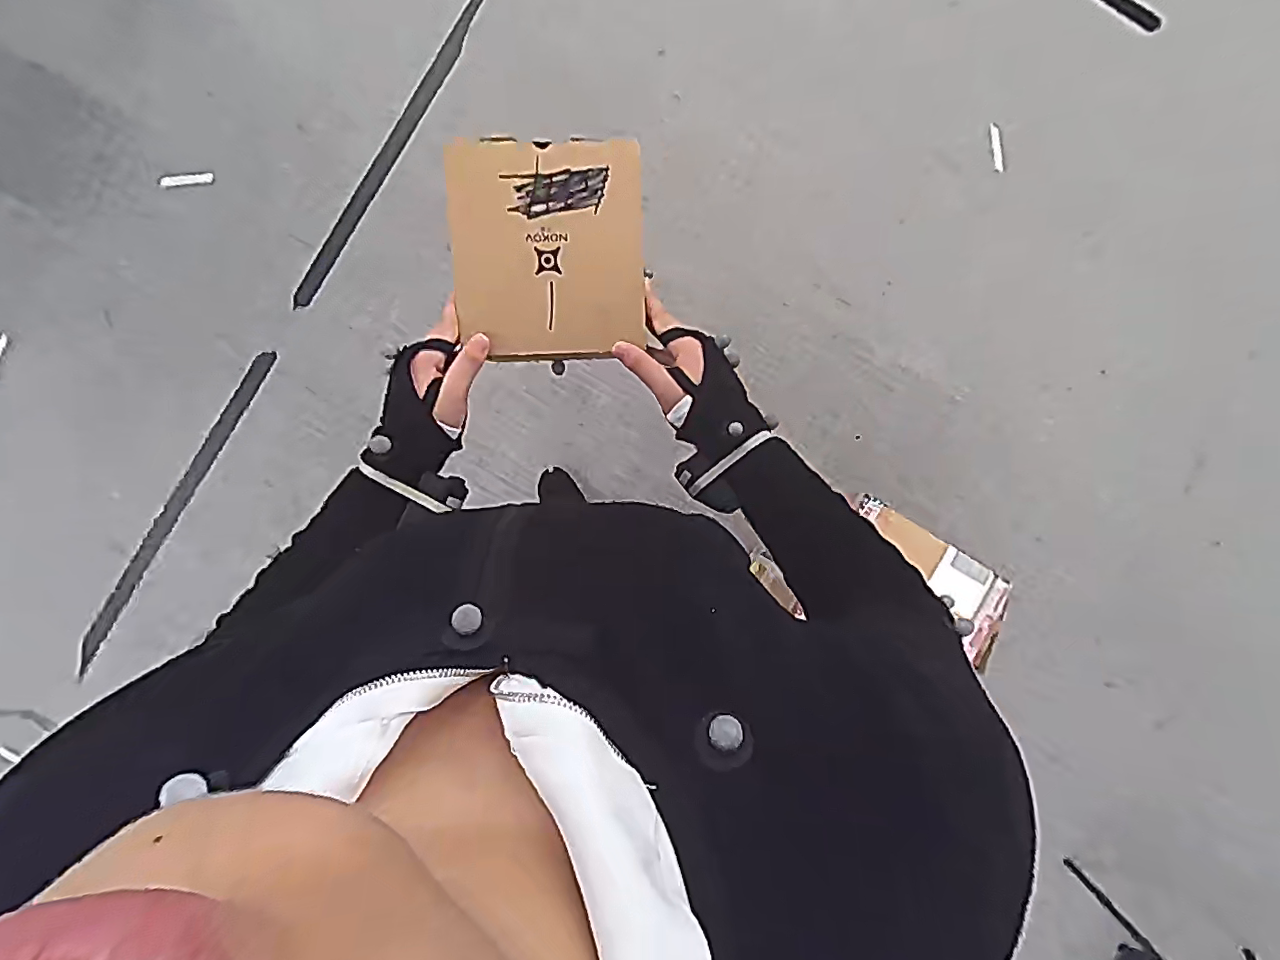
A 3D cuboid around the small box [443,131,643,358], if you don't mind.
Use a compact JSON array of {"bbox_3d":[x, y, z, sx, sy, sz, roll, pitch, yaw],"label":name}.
[{"bbox_3d":[-0.087,-0.219,0.544,0.168,0.176,0.179,-3,101,-4],"label":"small box"}]
